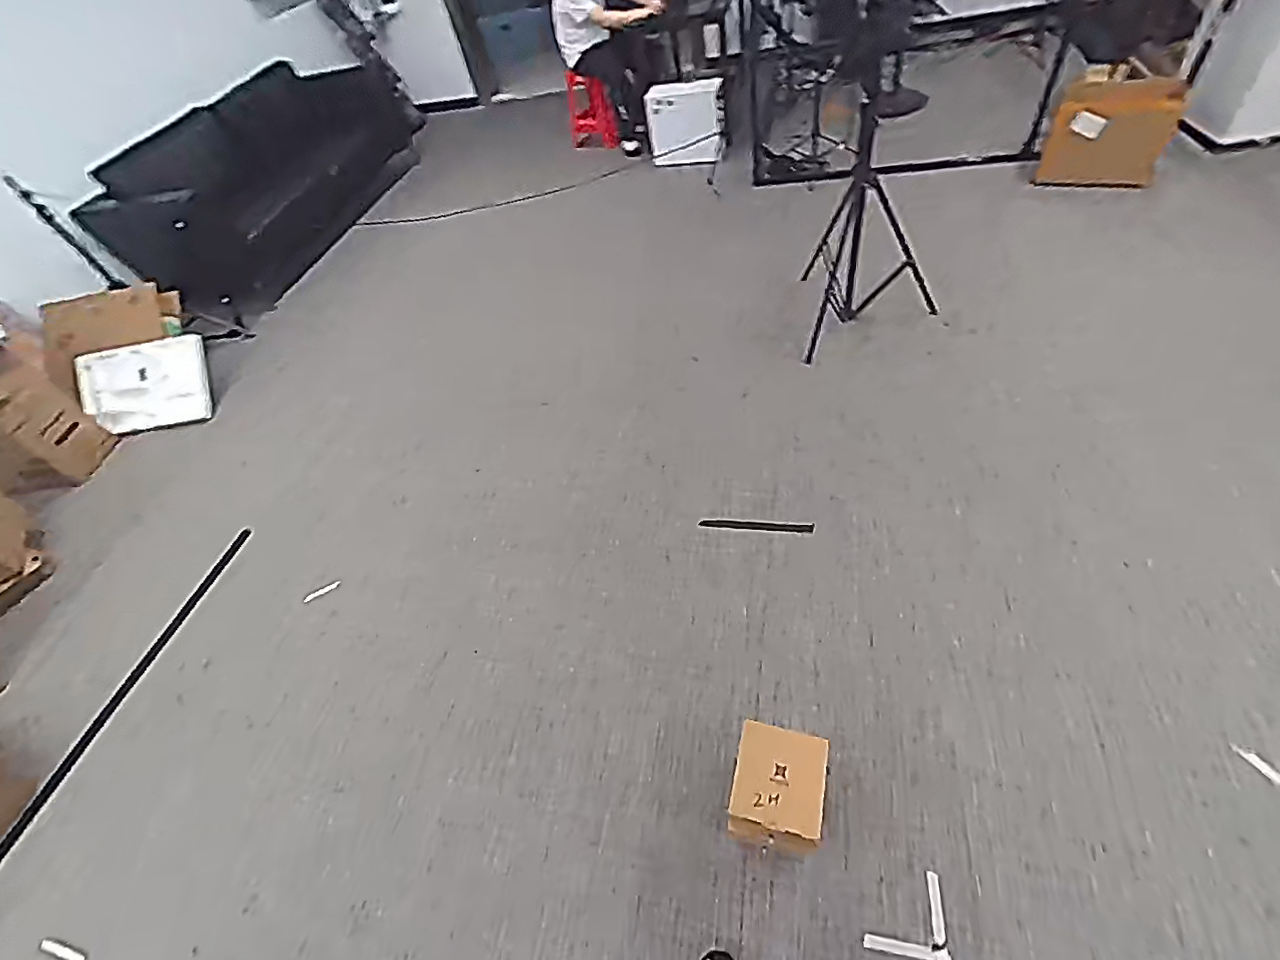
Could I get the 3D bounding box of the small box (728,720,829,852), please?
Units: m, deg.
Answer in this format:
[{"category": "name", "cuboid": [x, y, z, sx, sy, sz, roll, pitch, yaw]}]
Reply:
[{"category": "small box", "cuboid": [0.277, 0.611, 1.079, 0.168, 0.176, 0.179, 7, 54, 20]}]
